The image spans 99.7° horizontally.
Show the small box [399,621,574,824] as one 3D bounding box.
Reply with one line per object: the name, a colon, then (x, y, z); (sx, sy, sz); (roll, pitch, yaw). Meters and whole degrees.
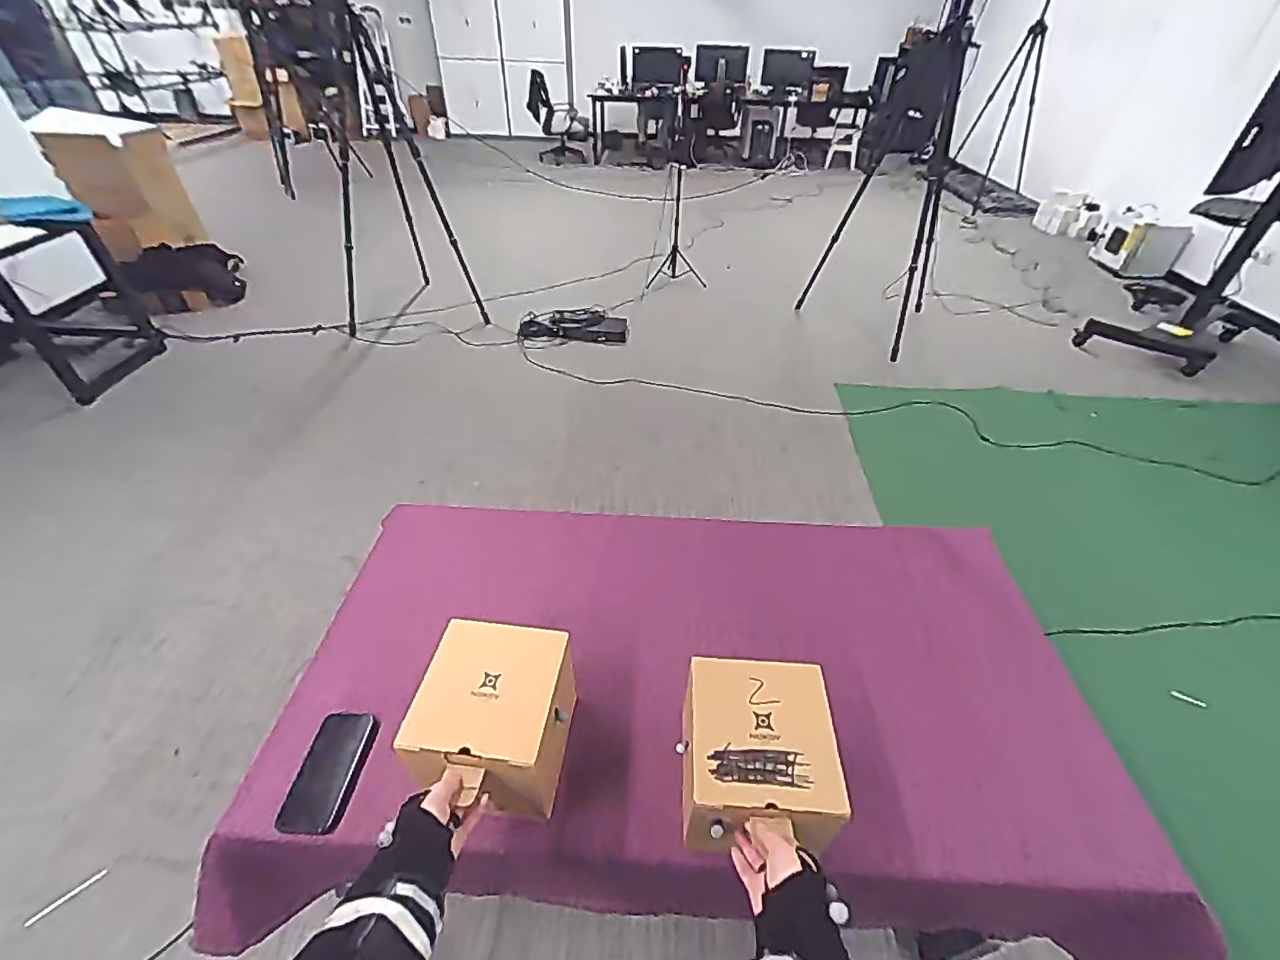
small box: (-0.185, 0.317, 0.712); (0.168, 0.176, 0.179); (6, 40, 4)
